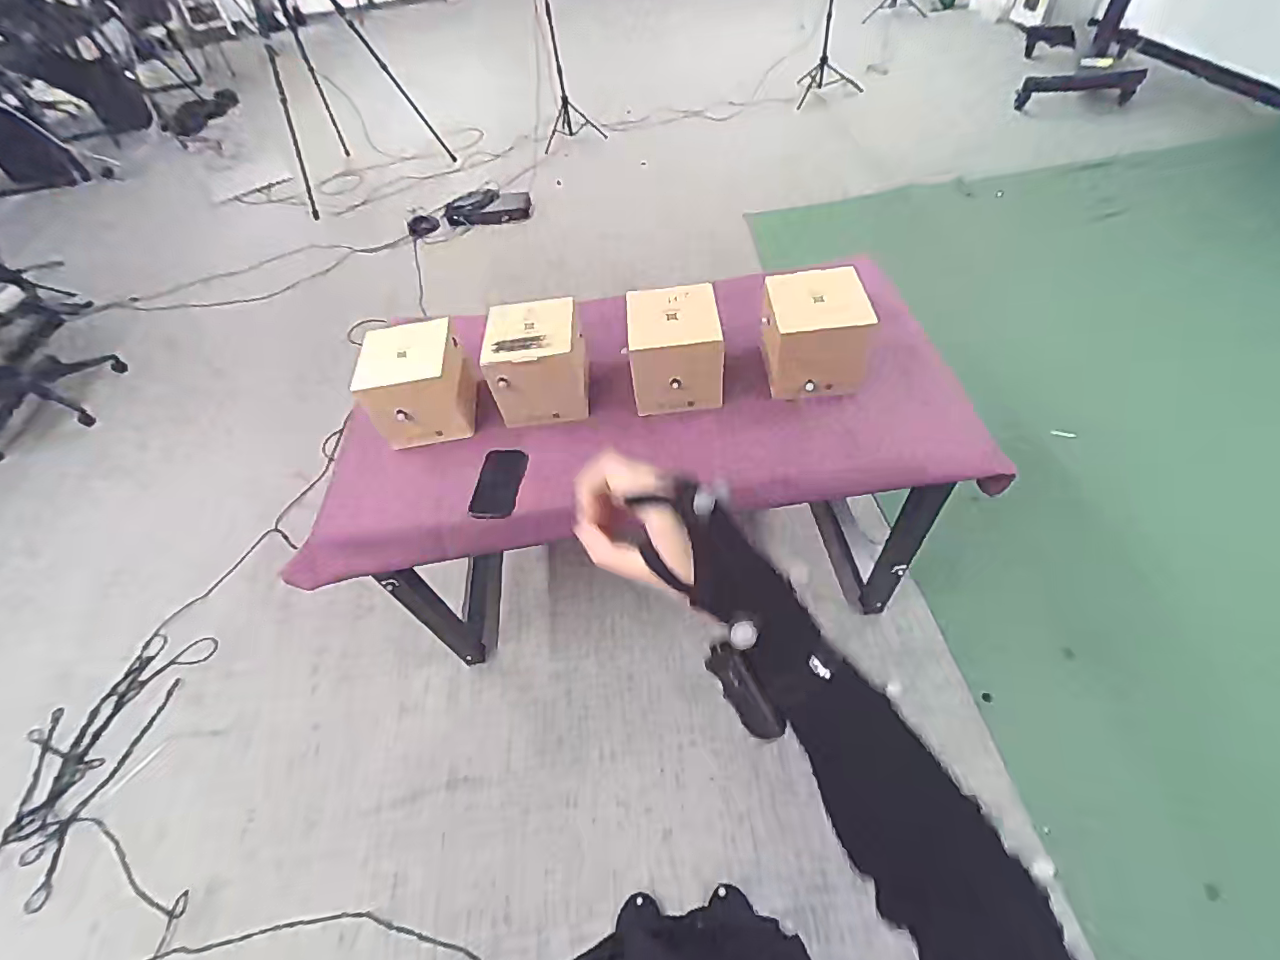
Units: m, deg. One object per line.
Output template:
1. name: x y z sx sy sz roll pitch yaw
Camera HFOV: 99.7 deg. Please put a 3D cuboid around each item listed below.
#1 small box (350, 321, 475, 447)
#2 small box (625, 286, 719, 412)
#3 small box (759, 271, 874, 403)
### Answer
1. small box: -0.433 -0.181 1.061 0.168 0.176 0.179 -10 51 0
2. small box: 0.064 -0.244 1.043 0.168 0.176 0.179 -5 52 3
3. small box: 0.323 -0.270 1.030 0.168 0.176 0.179 -5 52 5
